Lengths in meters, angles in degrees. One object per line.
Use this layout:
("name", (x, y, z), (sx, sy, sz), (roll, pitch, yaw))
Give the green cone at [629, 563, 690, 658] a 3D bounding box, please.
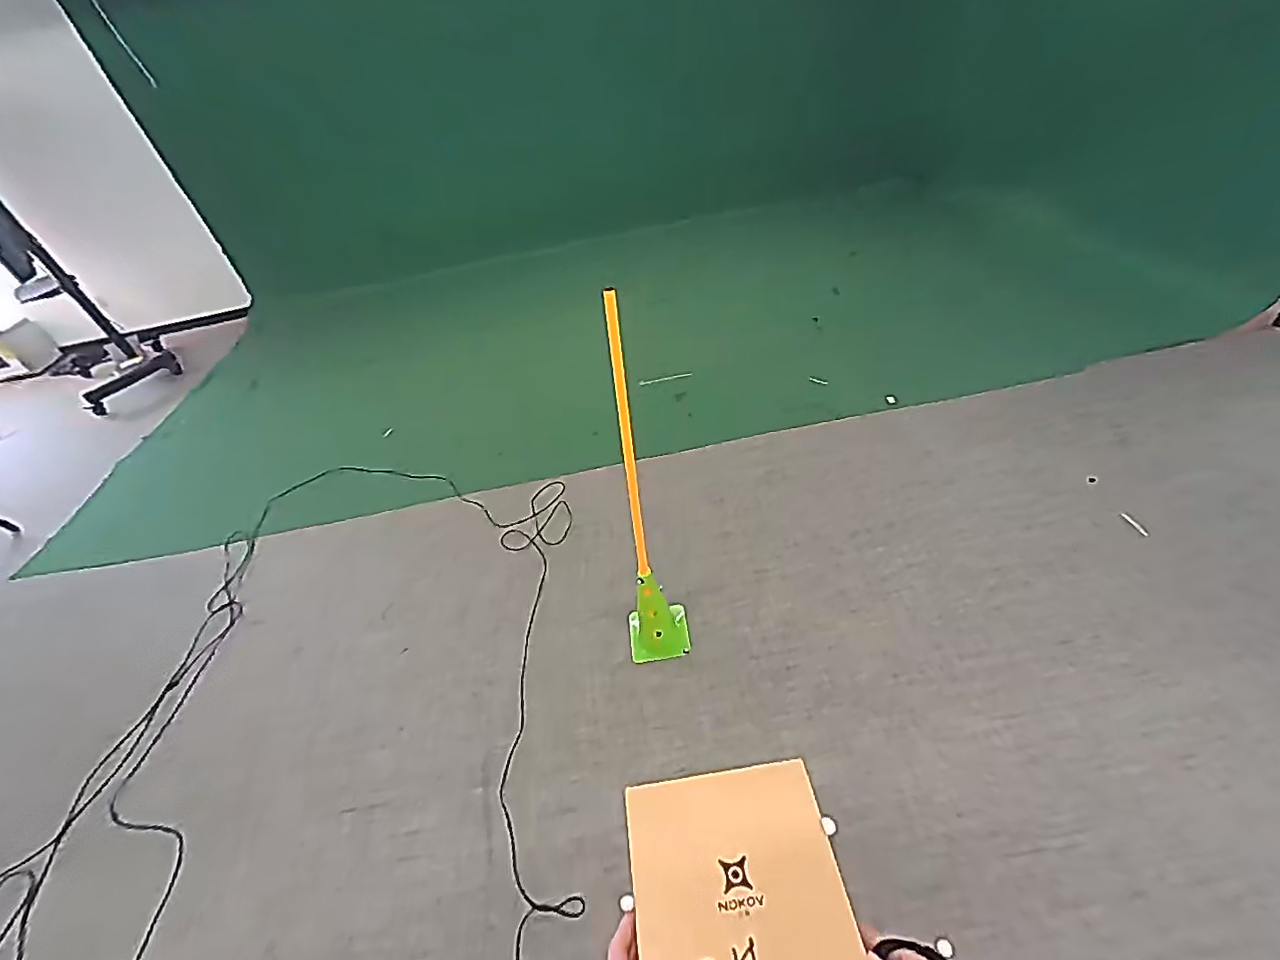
("green cone", (0.037, 0.392, 1.766), (0.202, 0.368, 0.200), (-11, 42, 3))
